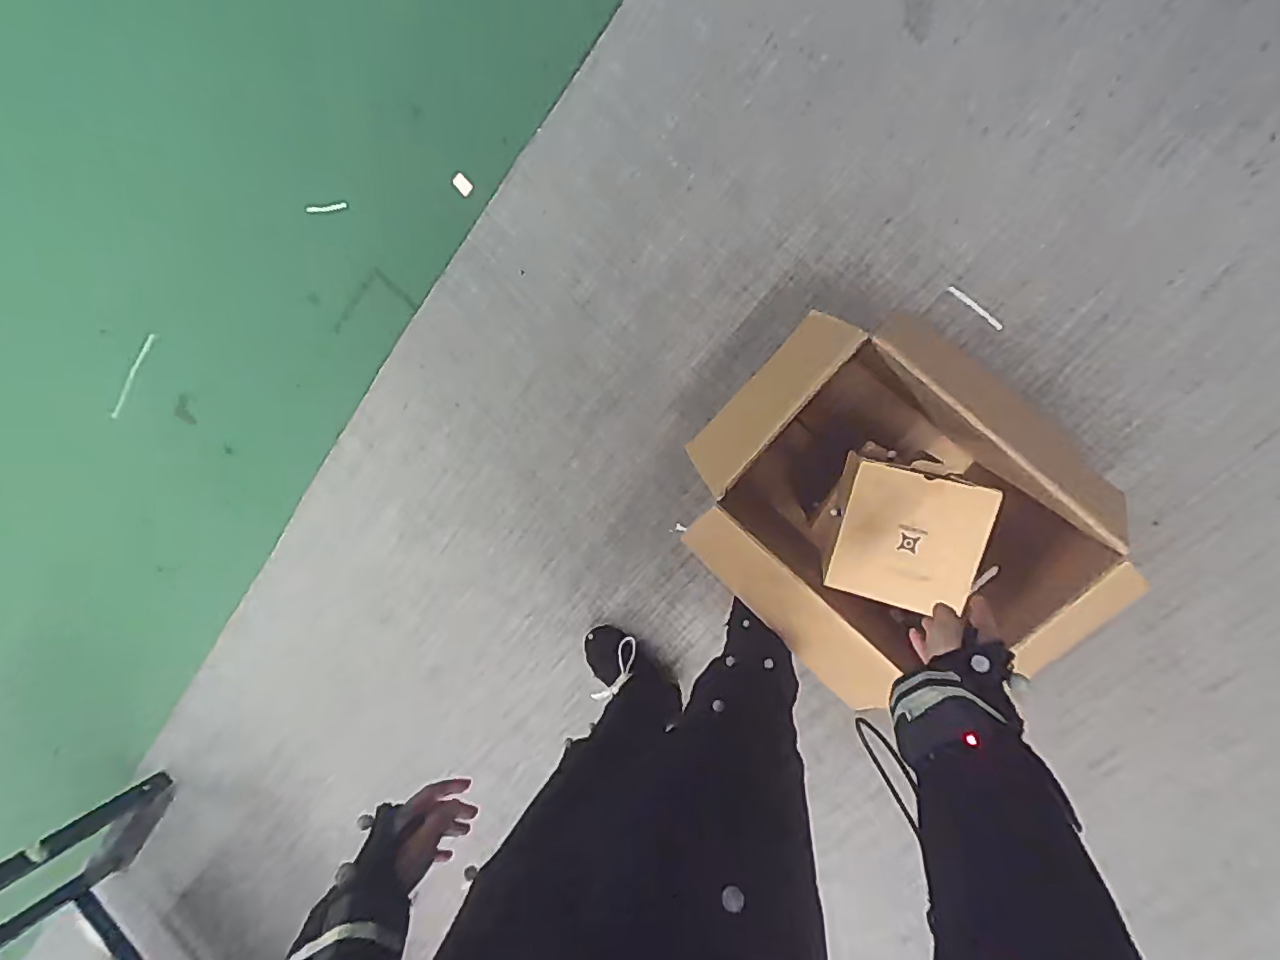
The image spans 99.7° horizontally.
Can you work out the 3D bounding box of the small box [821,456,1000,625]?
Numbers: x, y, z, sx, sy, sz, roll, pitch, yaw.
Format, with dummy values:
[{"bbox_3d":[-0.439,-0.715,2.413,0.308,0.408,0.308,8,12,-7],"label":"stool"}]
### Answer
[{"bbox_3d":[0.359,0.069,0.757,0.168,0.176,0.179,16,101,14],"label":"small box"}]
